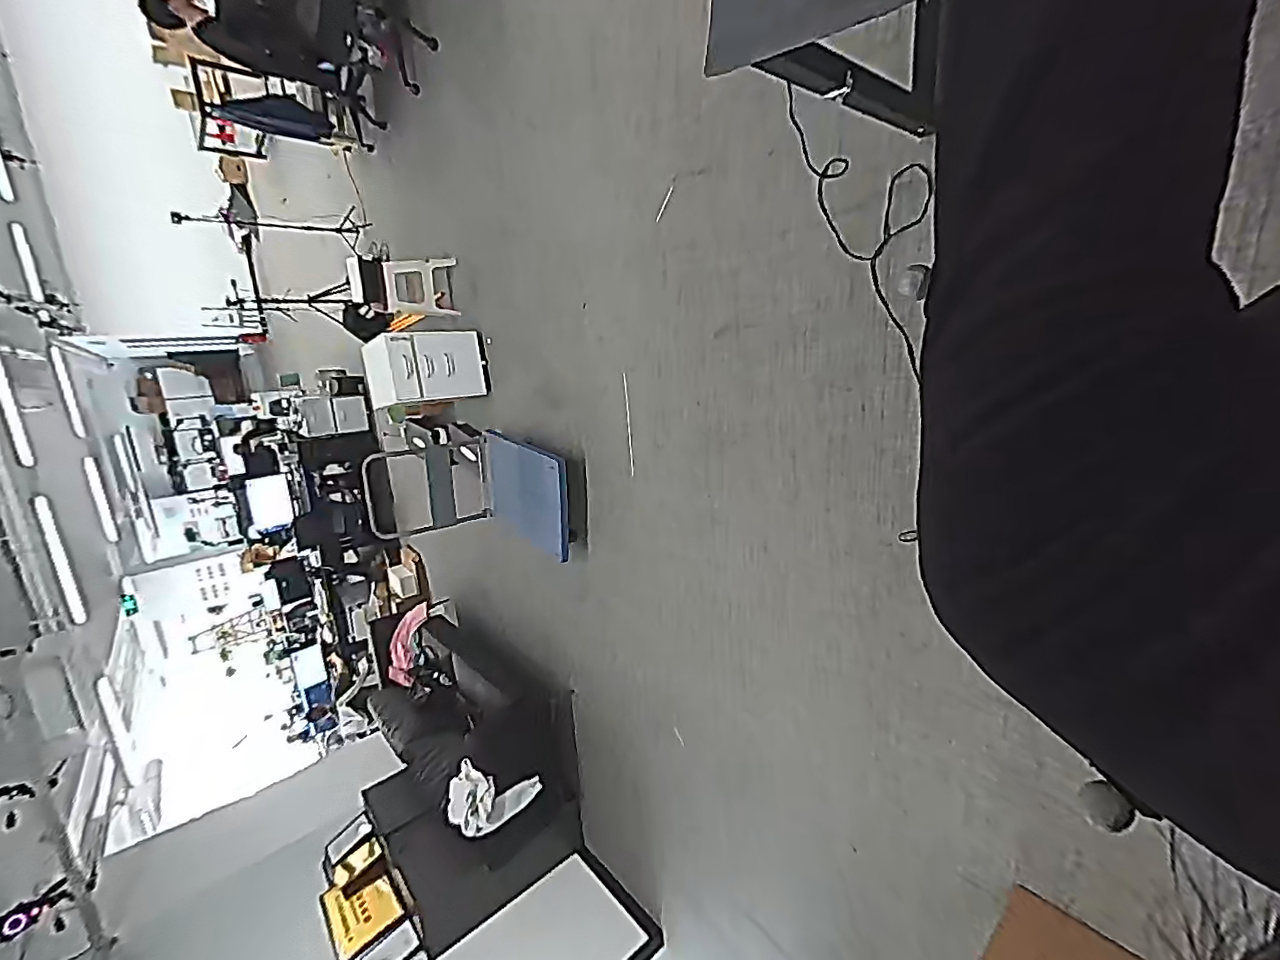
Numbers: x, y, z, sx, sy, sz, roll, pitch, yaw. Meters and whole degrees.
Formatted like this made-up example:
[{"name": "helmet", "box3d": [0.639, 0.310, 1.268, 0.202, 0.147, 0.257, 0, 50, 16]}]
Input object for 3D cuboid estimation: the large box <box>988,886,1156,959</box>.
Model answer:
[{"name": "large box", "box3d": [1.116, 1.345, 1.331, 0.408, 0.320, 0.320, 12, 111, 47]}]
